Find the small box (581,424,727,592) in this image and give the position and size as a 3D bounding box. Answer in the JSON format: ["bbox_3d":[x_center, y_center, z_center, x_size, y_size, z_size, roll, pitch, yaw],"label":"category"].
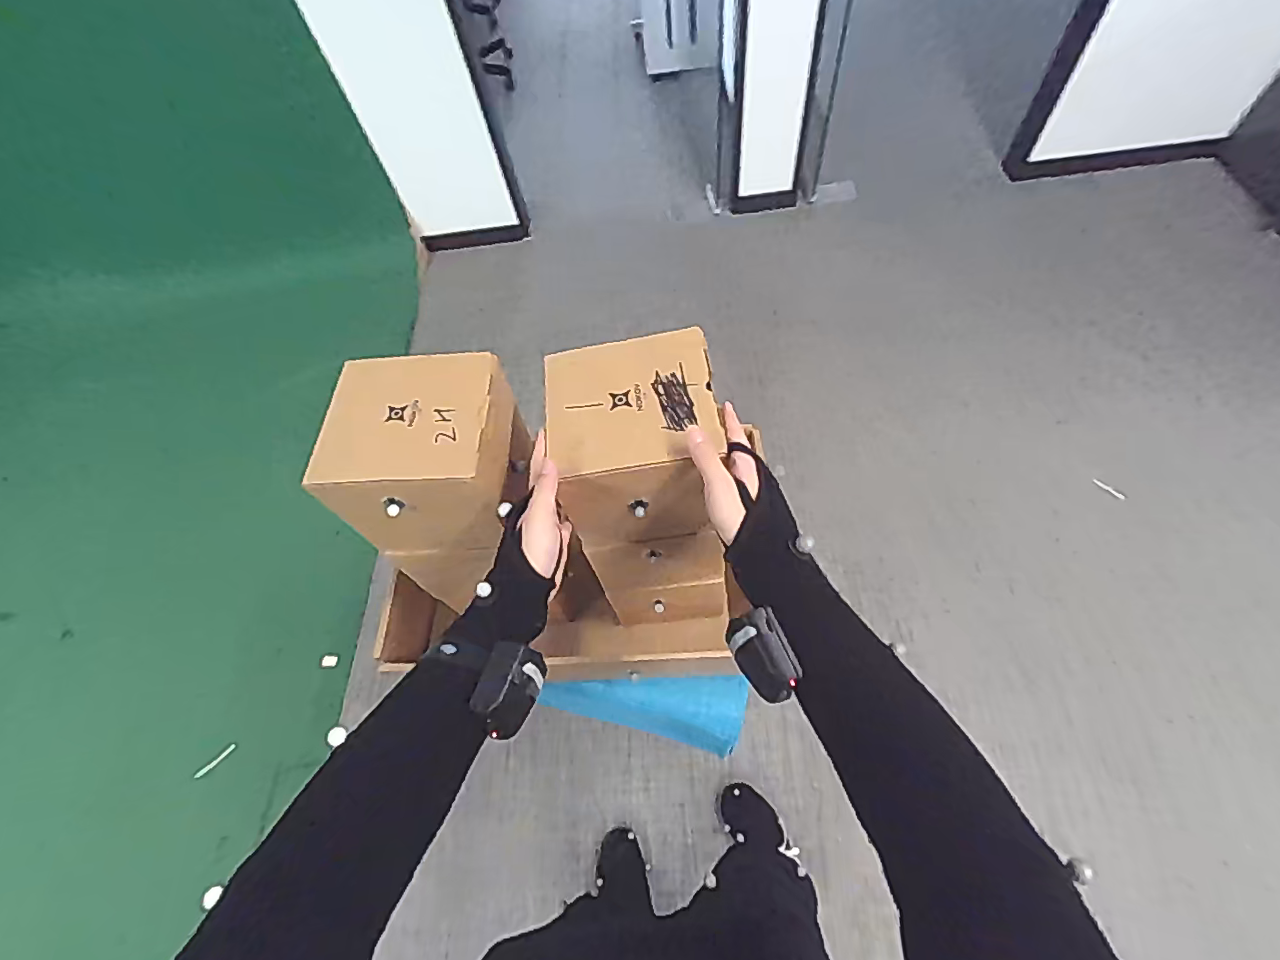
[{"bbox_3d":[0.022,0.047,0.757,0.179,0.176,0.168,-8,59,4],"label":"small box"}]

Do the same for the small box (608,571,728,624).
[{"bbox_3d":[0.047,0.130,0.895,0.179,0.176,0.168,-8,58,5],"label":"small box"}]

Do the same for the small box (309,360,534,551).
[{"bbox_3d":[-0.239,-0.022,0.644,0.179,0.176,0.168,-2,60,4],"label":"small box"}]

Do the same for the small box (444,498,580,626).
[{"bbox_3d":[-0.207,0.146,0.925,0.179,0.176,0.168,-4,59,3],"label":"small box"}]
